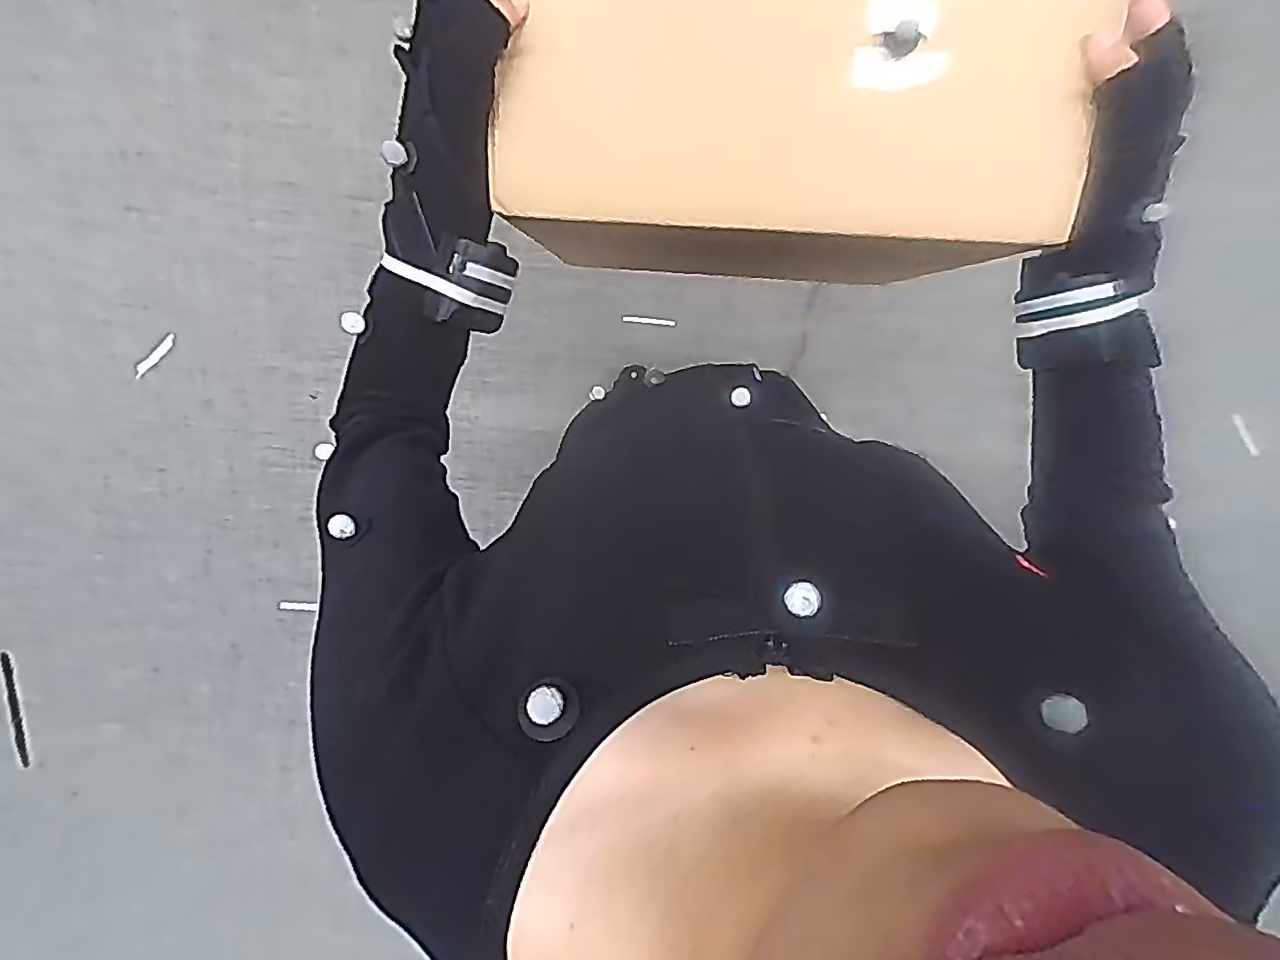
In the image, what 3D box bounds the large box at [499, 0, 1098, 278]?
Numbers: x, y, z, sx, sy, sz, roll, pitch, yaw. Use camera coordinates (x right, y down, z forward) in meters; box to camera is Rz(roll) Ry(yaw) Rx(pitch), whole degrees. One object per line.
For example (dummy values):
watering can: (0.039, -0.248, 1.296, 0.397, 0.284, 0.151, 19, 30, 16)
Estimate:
large box: (0.106, -0.372, 0.500, 0.408, 0.320, 0.320, 3, 105, 1)
